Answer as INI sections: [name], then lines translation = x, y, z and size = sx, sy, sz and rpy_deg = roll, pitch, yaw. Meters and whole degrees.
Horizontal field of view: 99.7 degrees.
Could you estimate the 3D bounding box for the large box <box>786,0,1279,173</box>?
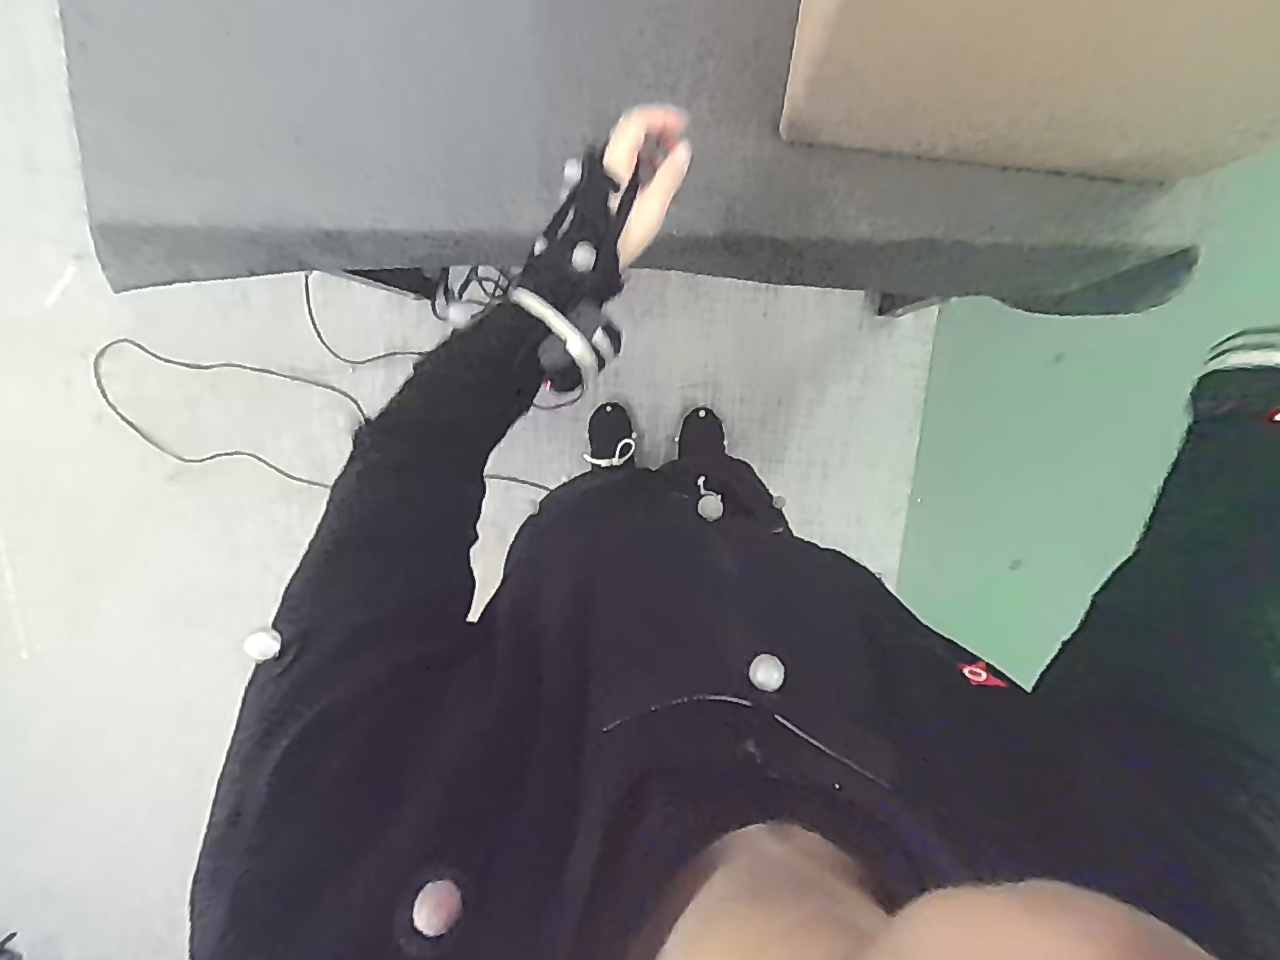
[large box]
translation = 0.349, -0.450, 0.374
size = 0.408, 0.320, 0.320
rpy_deg = 8, 101, 2
